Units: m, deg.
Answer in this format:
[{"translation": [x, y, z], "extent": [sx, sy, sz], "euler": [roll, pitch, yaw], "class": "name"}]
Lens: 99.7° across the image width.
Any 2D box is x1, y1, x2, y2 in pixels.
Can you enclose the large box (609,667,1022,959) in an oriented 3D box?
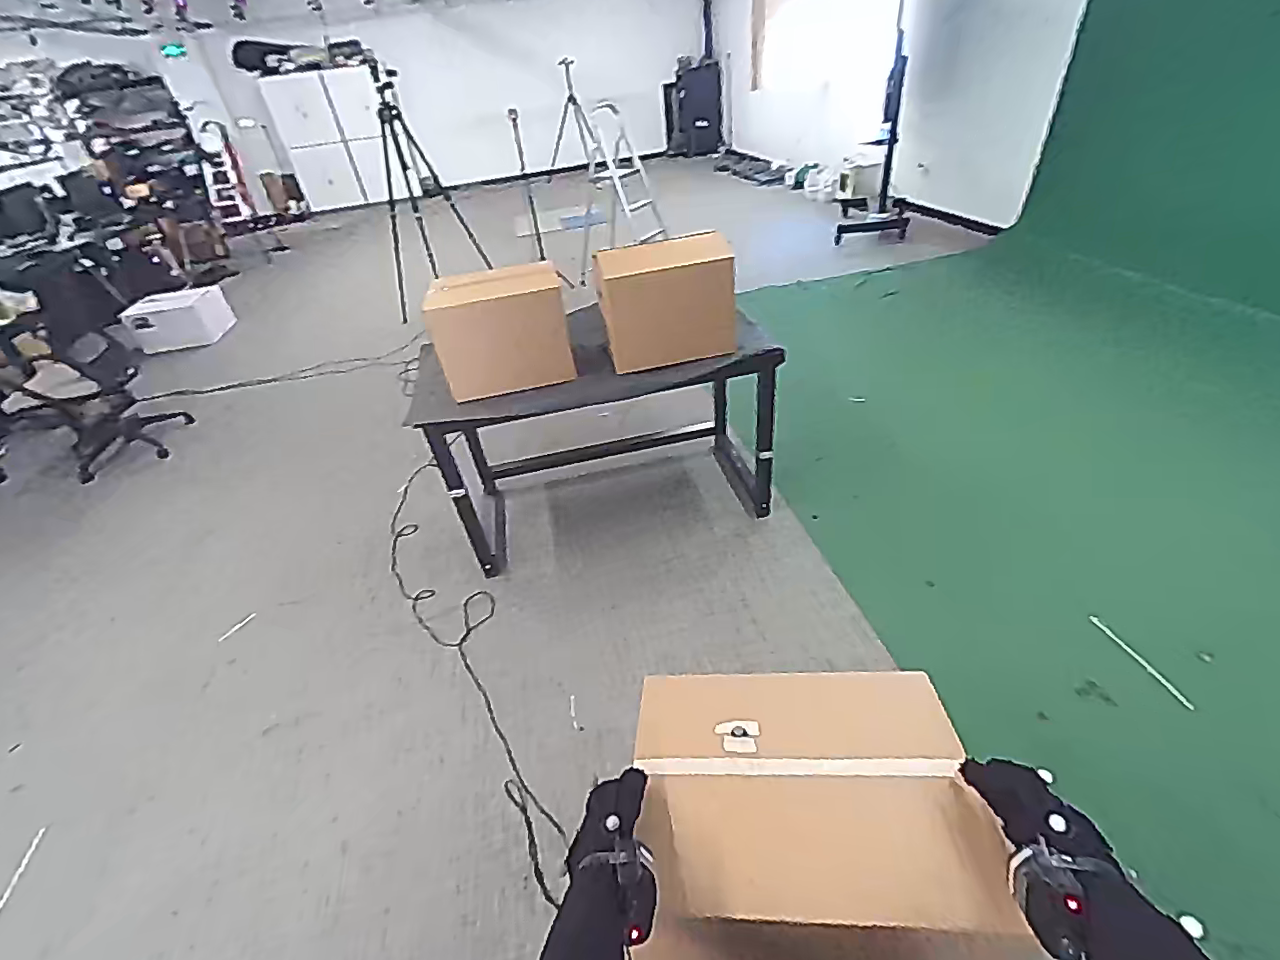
[{"translation": [0.198, 0.484, 0.728], "extent": [0.408, 0.320, 0.320], "euler": [-5, 27, 9], "class": "large box"}]
